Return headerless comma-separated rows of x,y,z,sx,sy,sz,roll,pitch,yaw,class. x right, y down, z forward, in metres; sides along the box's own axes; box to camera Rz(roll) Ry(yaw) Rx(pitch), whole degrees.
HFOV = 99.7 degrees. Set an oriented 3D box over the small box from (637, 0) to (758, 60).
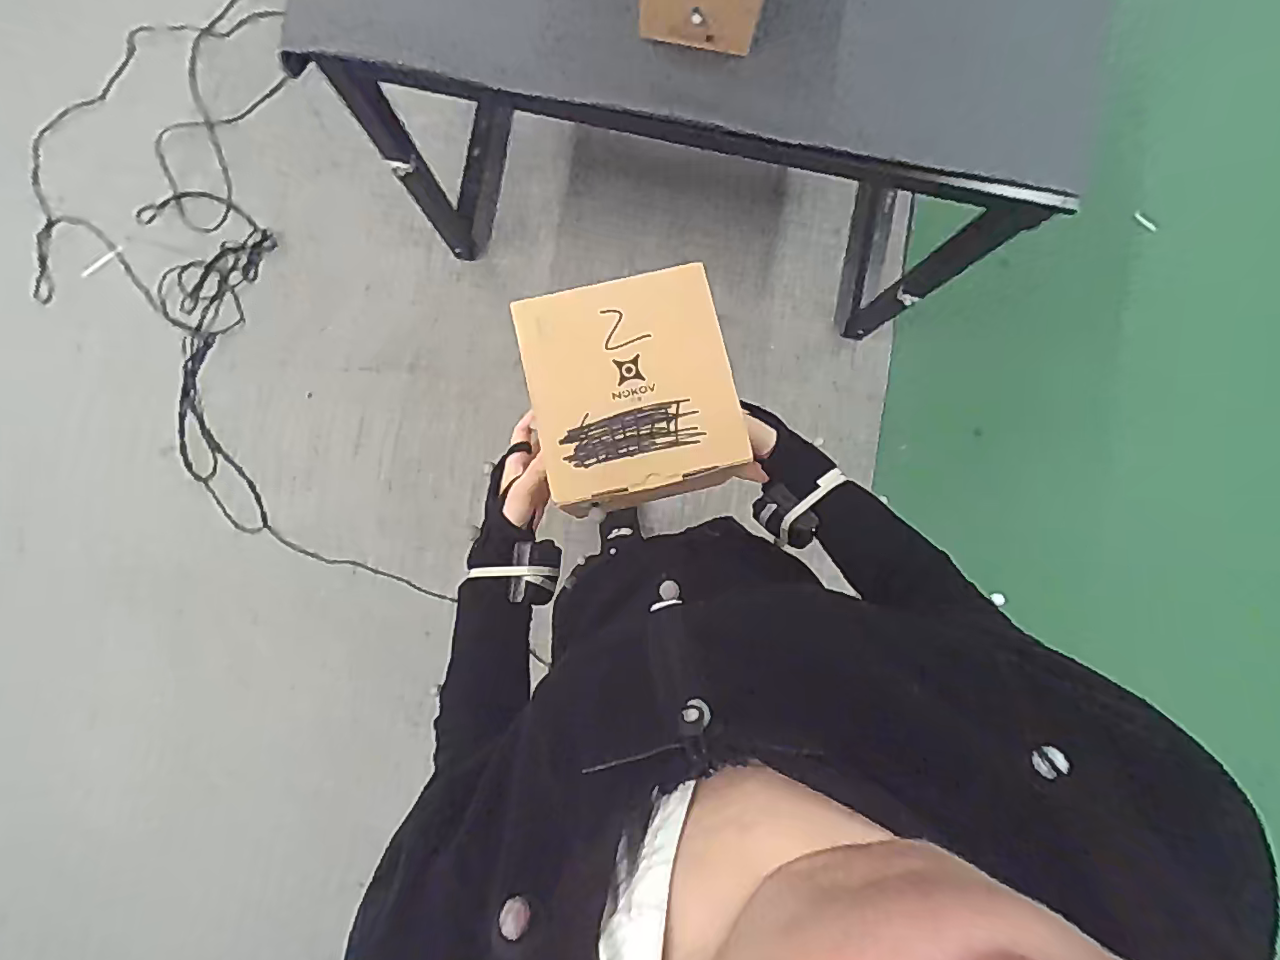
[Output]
0.088,-0.728,0.730,0.168,0.176,0.179,9,87,-1,small box
